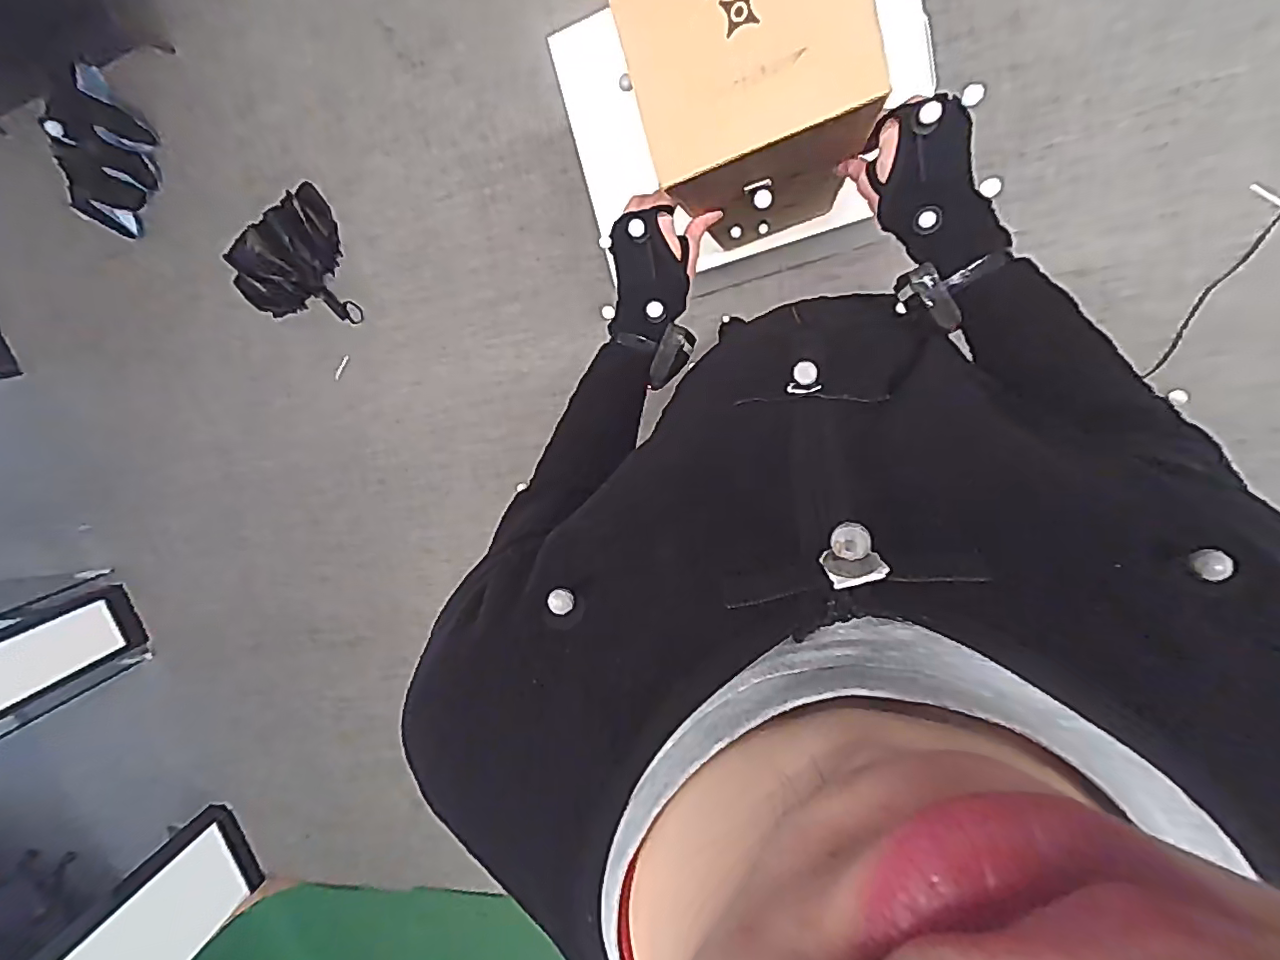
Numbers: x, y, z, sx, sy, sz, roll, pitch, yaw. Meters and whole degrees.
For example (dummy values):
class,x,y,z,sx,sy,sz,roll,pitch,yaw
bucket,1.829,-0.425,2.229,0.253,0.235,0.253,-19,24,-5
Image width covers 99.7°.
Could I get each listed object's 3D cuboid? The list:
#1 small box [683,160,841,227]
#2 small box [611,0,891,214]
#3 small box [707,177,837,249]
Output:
class,x,y,z,sx,sy,sz,roll,pitch,yaw
small box,0.119,-0.392,0.584,0.168,0.176,0.179,-14,101,17
small box,0.083,-0.342,0.433,0.168,0.176,0.179,-14,103,18
small box,0.158,-0.439,0.738,0.168,0.176,0.179,-16,102,19
